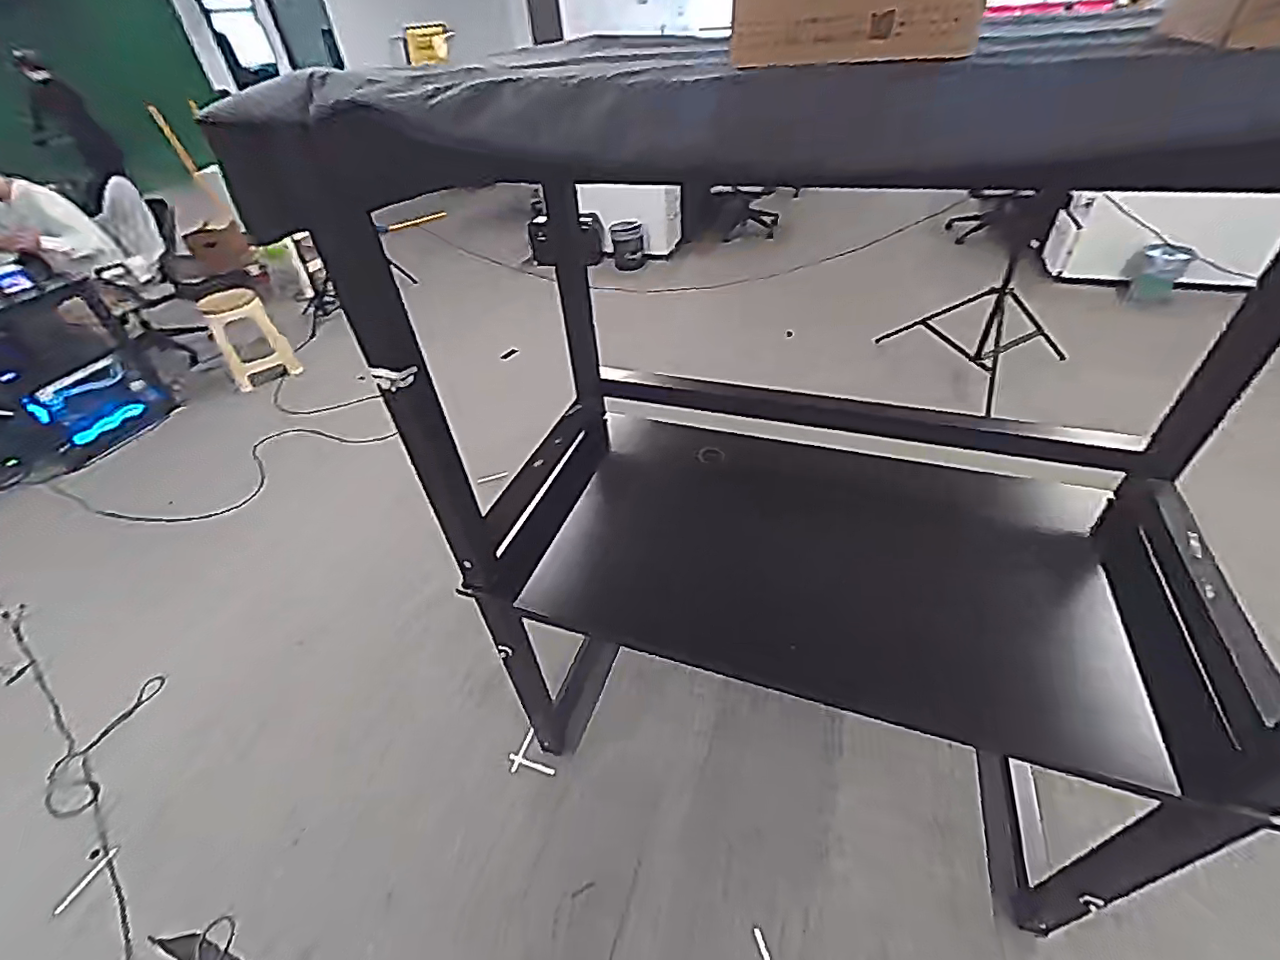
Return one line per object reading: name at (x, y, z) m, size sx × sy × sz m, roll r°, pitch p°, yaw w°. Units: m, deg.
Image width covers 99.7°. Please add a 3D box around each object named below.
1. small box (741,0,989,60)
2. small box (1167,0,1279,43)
small box at (0.172, -0.411, 0.388) m, size 0.168 × 0.176 × 0.179 m, roll 11°, pitch 41°, yaw 18°
small box at (0.453, -0.357, 0.299) m, size 0.168 × 0.176 × 0.179 m, roll 14°, pitch 42°, yaw 21°
